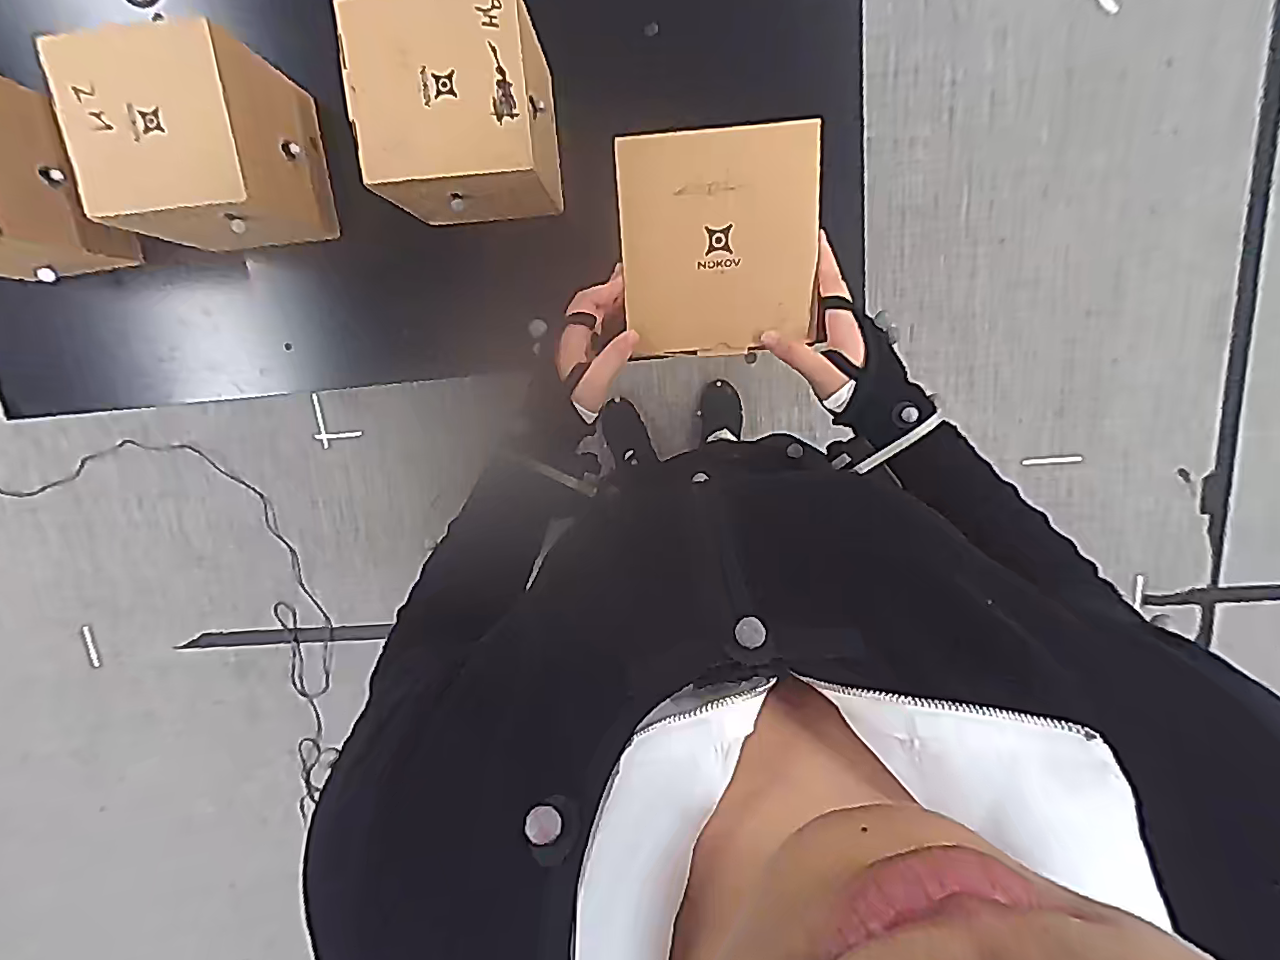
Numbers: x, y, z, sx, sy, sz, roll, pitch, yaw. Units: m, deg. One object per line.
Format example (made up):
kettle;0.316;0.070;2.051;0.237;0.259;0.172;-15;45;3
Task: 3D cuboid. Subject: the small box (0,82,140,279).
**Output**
small box;-0.755;-0.346;0.630;0.168;0.176;0.179;-7;103;3

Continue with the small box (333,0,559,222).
small box;-0.198;-0.399;0.603;0.179;0.176;0.168;-3;103;3

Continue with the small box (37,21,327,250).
small box;-0.489;-0.371;0.616;0.179;0.176;0.168;-6;102;3
